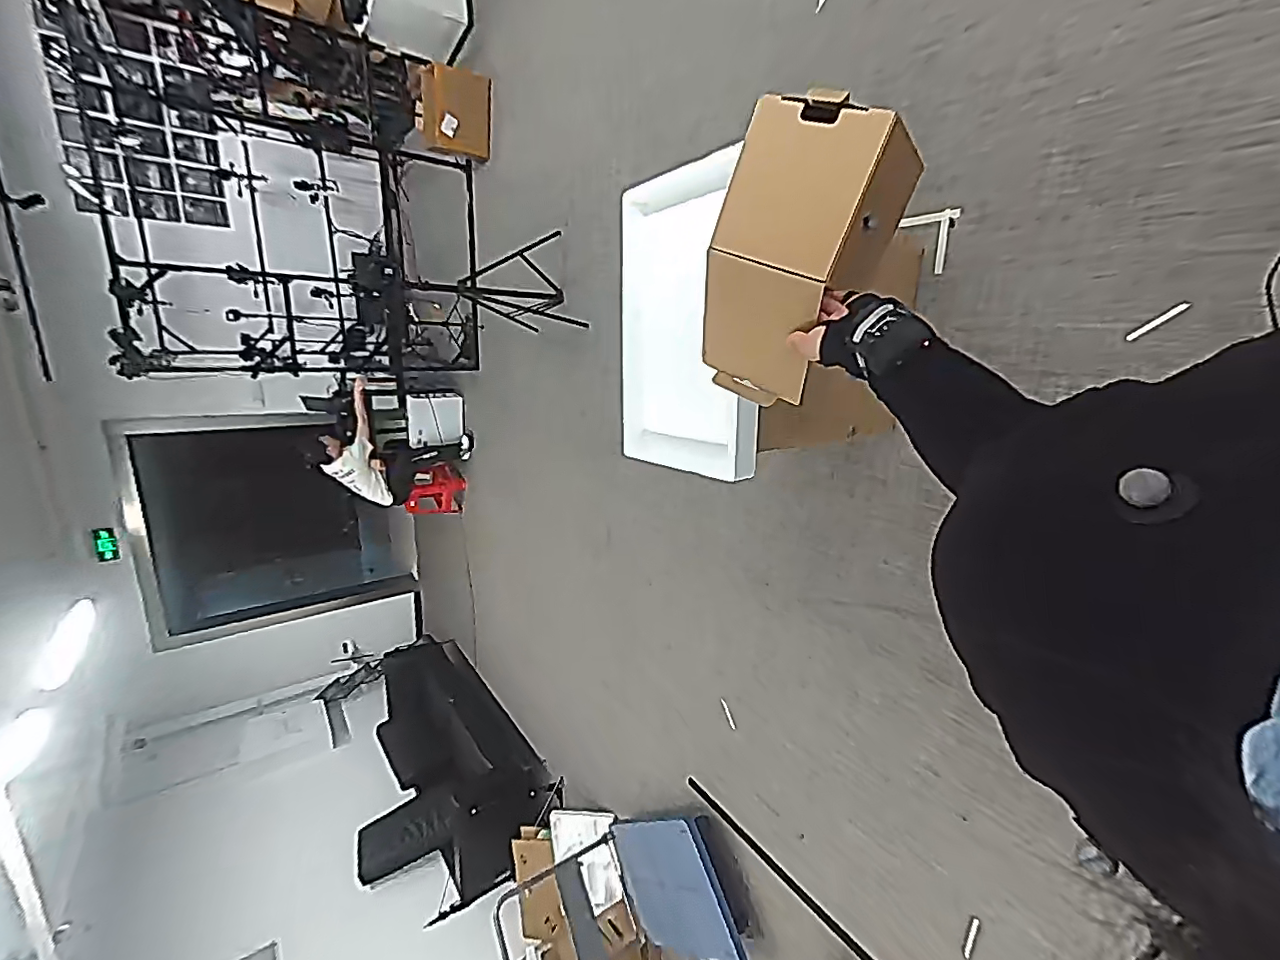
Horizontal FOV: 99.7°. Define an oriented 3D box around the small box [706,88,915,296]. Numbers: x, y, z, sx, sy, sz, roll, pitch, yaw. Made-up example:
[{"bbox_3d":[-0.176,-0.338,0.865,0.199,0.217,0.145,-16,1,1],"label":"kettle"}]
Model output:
[{"bbox_3d":[0.214,-0.342,0.670,0.168,0.176,0.179,31,114,28],"label":"small box"}]
